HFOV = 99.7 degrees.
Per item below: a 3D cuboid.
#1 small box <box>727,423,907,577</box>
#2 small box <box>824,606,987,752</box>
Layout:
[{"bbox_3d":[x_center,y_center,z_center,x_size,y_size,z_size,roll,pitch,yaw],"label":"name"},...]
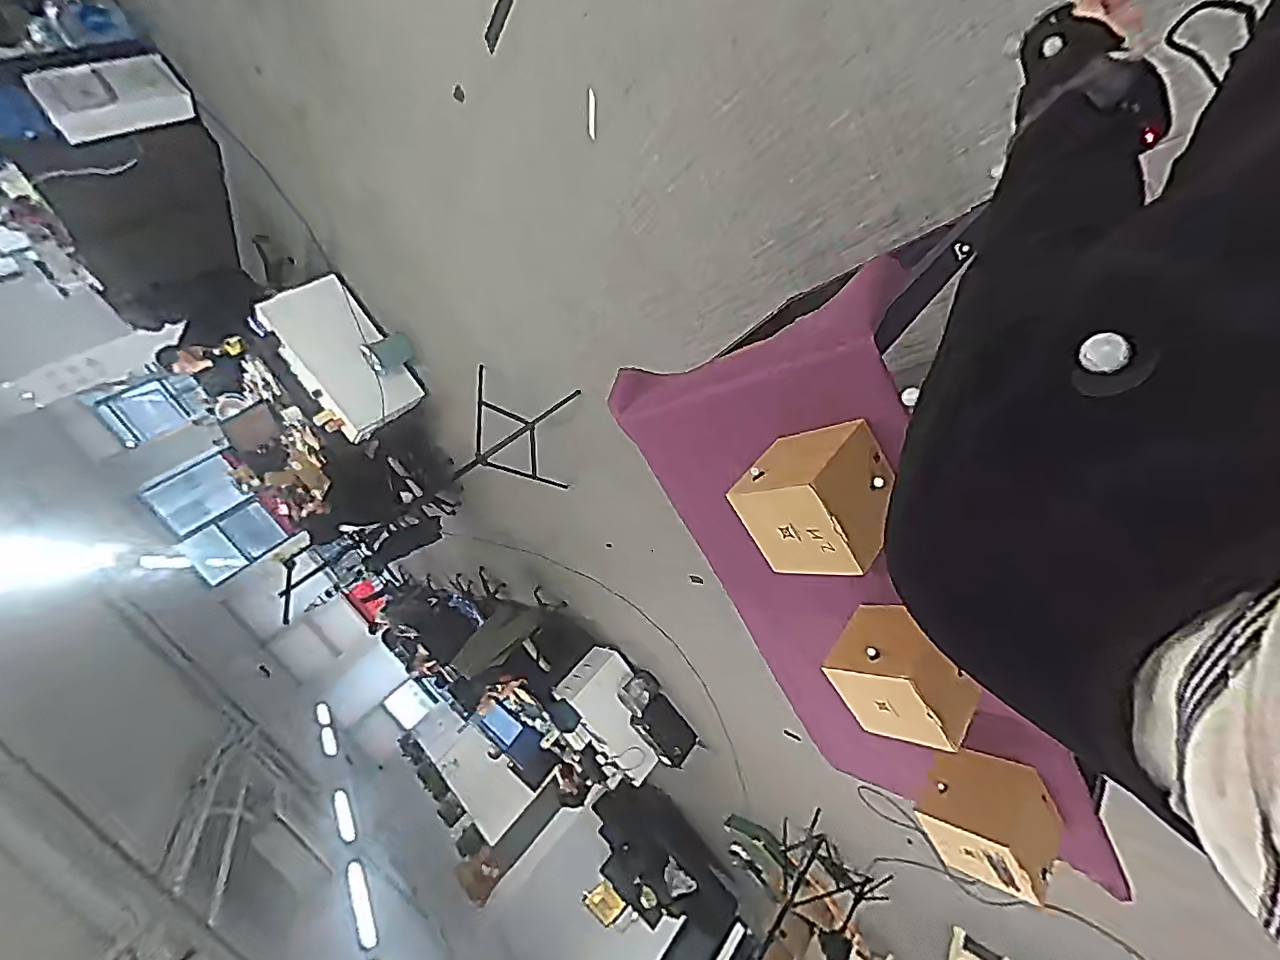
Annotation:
[{"bbox_3d":[0.279,0.032,0.852,0.168,0.176,0.179,55,149,-15],"label":"small box"},{"bbox_3d":[0.474,0.341,0.966,0.168,0.176,0.179,54,148,-11],"label":"small box"}]
